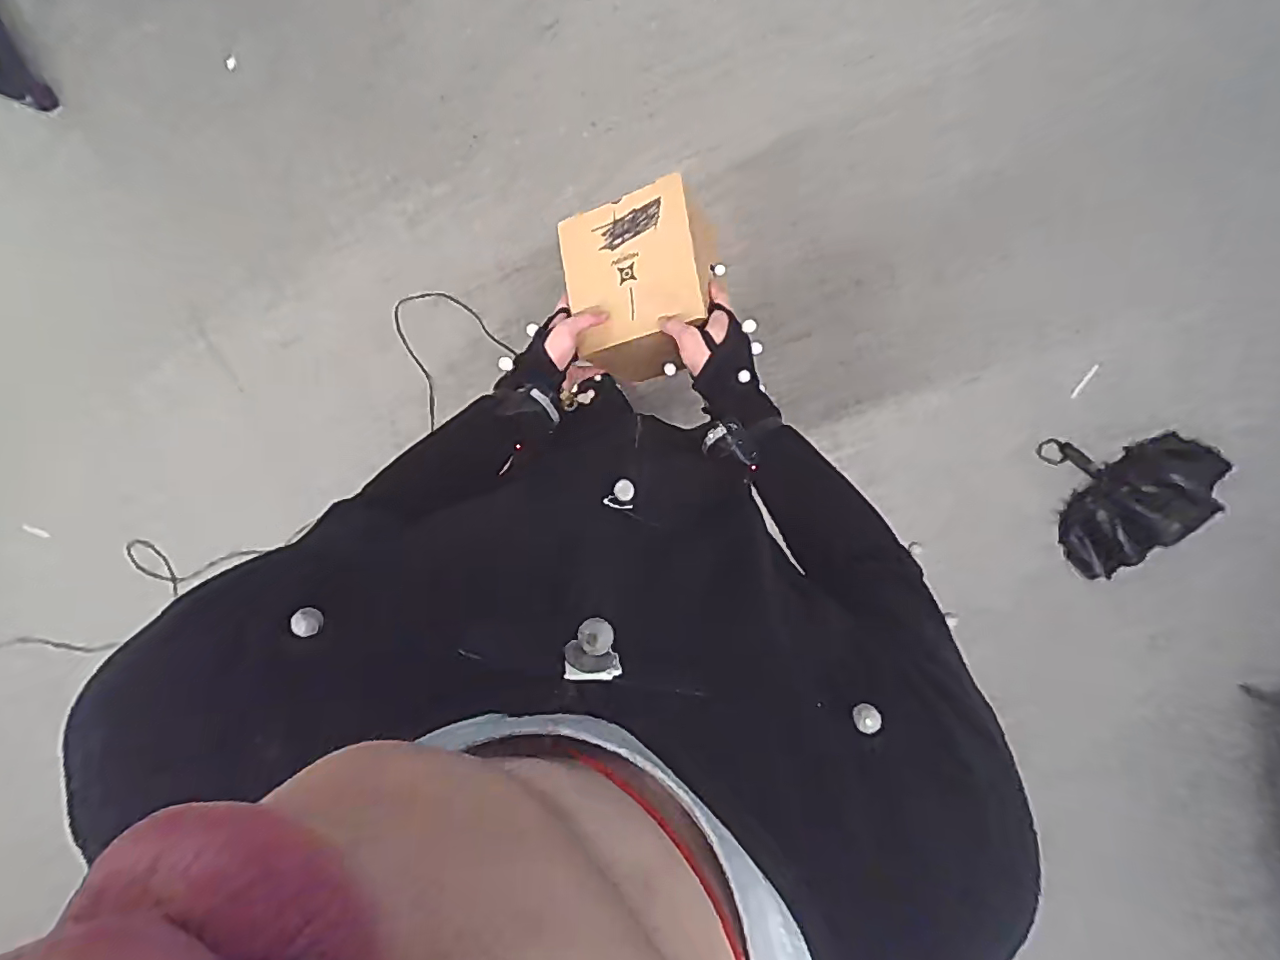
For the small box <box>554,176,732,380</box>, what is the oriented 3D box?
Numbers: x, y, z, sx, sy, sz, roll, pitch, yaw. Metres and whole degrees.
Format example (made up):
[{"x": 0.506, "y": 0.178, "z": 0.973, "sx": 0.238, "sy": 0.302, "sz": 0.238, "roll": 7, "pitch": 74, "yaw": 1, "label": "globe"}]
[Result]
[{"x": 0.010, "y": -0.248, "z": 0.714, "sx": 0.168, "sy": 0.176, "sz": 0.179, "roll": -12, "pitch": 84, "yaw": 24, "label": "small box"}]
